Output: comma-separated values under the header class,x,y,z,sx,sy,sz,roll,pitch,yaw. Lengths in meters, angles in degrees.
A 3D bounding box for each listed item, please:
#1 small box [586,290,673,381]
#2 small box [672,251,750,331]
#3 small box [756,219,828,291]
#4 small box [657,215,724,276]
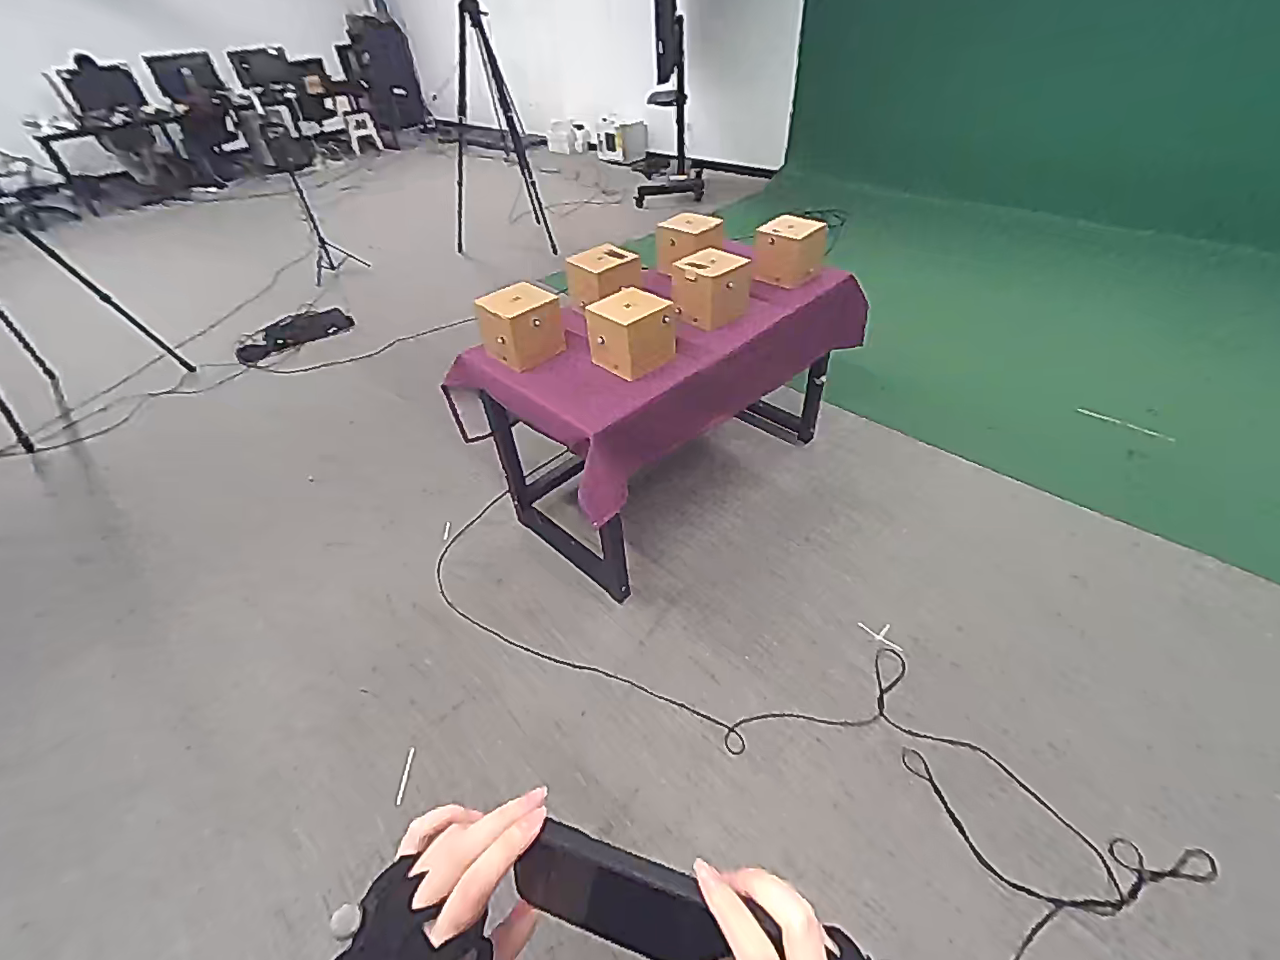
class,x,y,z,sx,sy,sz,roll,pitch,yaw
small box,-0.022,-0.393,1.477,0.179,0.176,0.168,-34,50,-30
small box,0.218,-0.578,1.659,0.179,0.176,0.168,-32,49,-28
small box,0.508,-0.766,1.839,0.168,0.176,0.179,31,53,33
small box,0.179,-0.823,1.928,0.179,0.176,0.168,30,53,31
